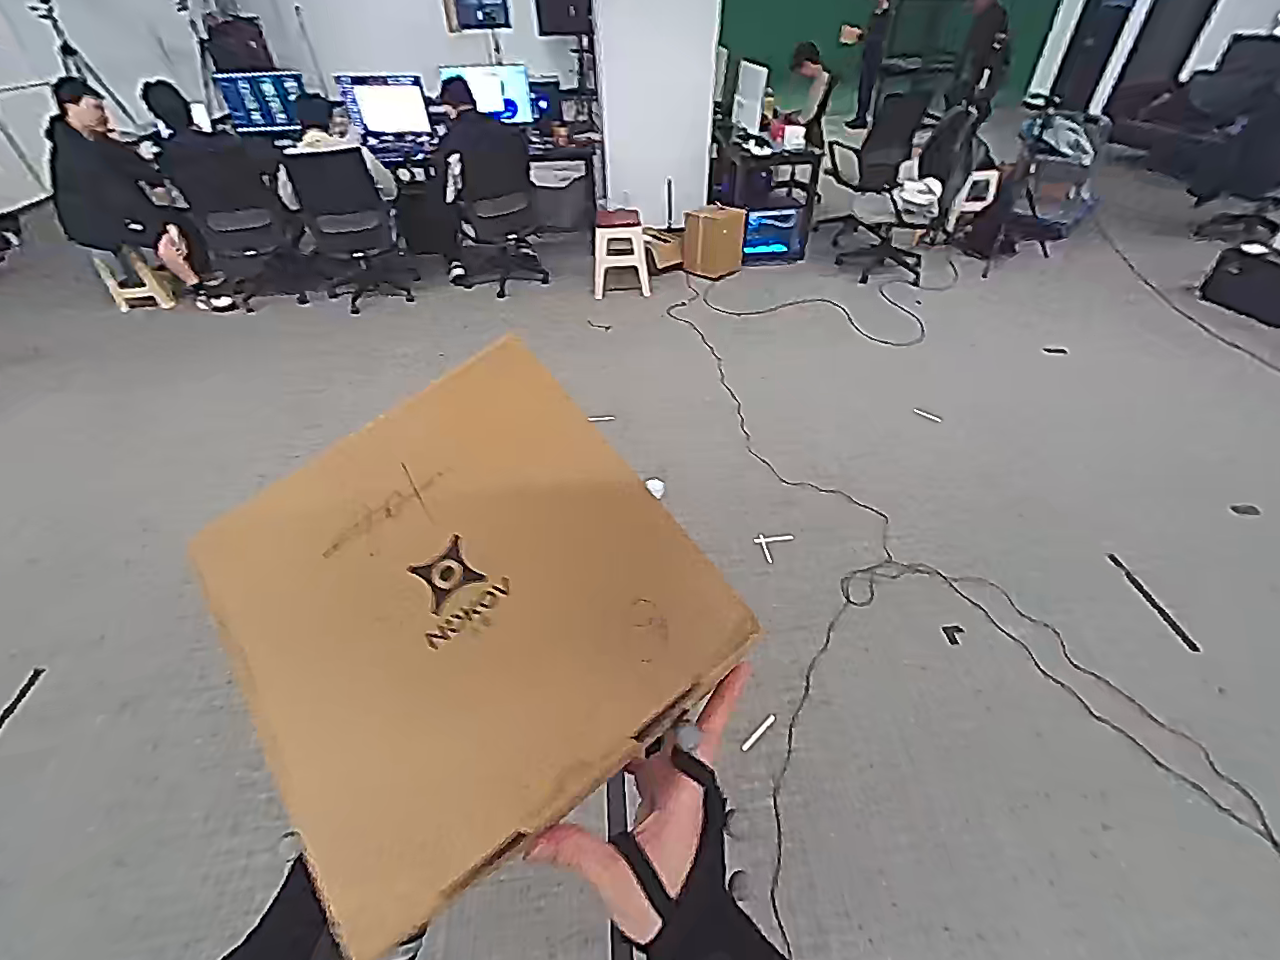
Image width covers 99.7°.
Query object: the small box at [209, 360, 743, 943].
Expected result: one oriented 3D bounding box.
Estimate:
[{"bbox_3d":[-0.067,0.078,0.295,0.168,0.176,0.179,-38,68,-12],"label":"small box"}]
